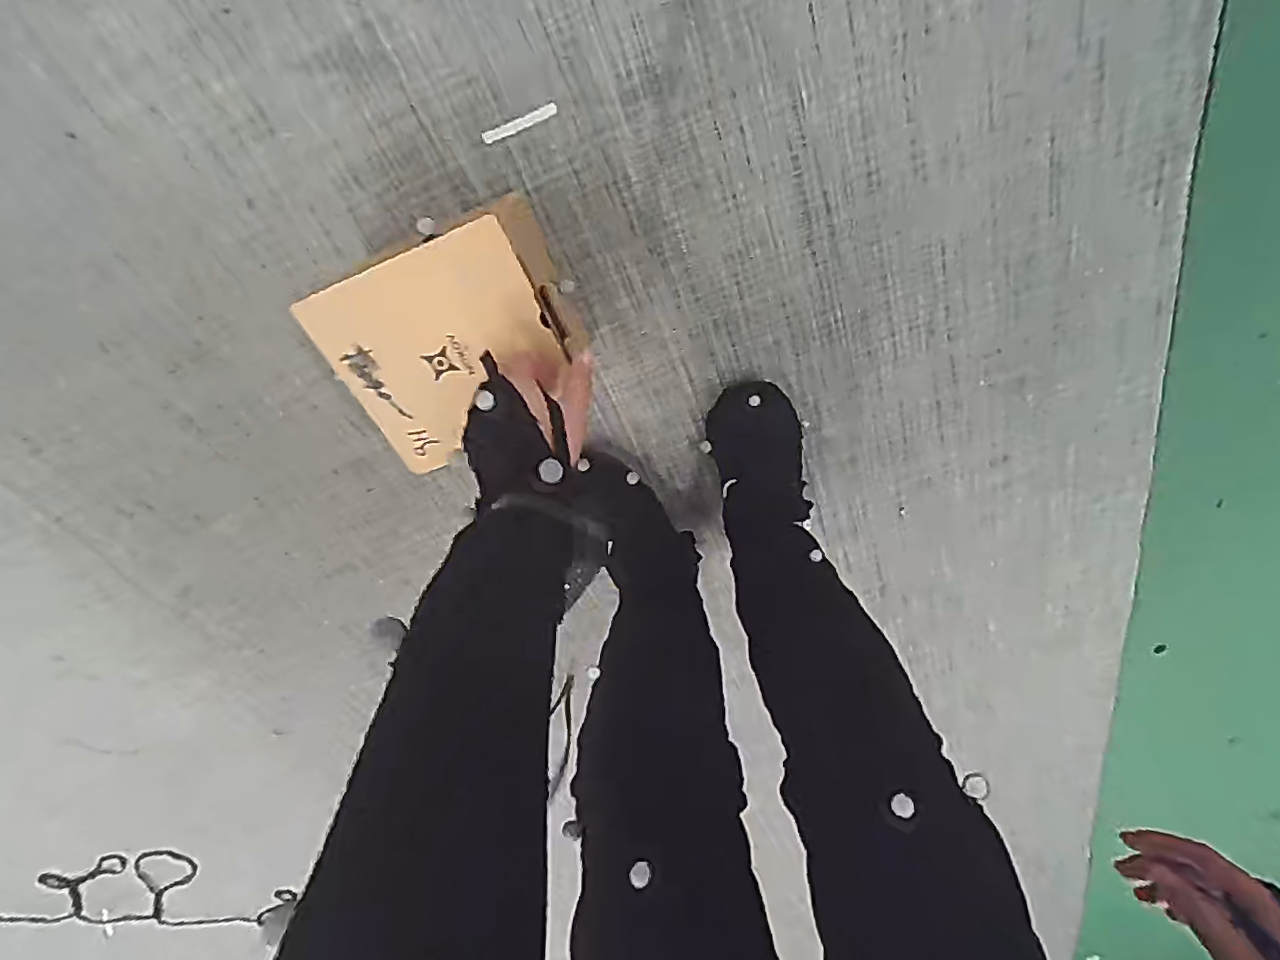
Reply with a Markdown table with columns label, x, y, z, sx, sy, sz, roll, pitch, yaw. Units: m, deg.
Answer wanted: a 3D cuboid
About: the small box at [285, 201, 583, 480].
| label | x | y | z | sx | sy | sz | roll | pitch | yaw |
| --- | --- | --- | --- | --- | --- | --- | --- | --- | --- |
| small box | -0.166 | -0.135 | 0.498 | 0.179 | 0.176 | 0.168 | -21 | 124 | 6 |
